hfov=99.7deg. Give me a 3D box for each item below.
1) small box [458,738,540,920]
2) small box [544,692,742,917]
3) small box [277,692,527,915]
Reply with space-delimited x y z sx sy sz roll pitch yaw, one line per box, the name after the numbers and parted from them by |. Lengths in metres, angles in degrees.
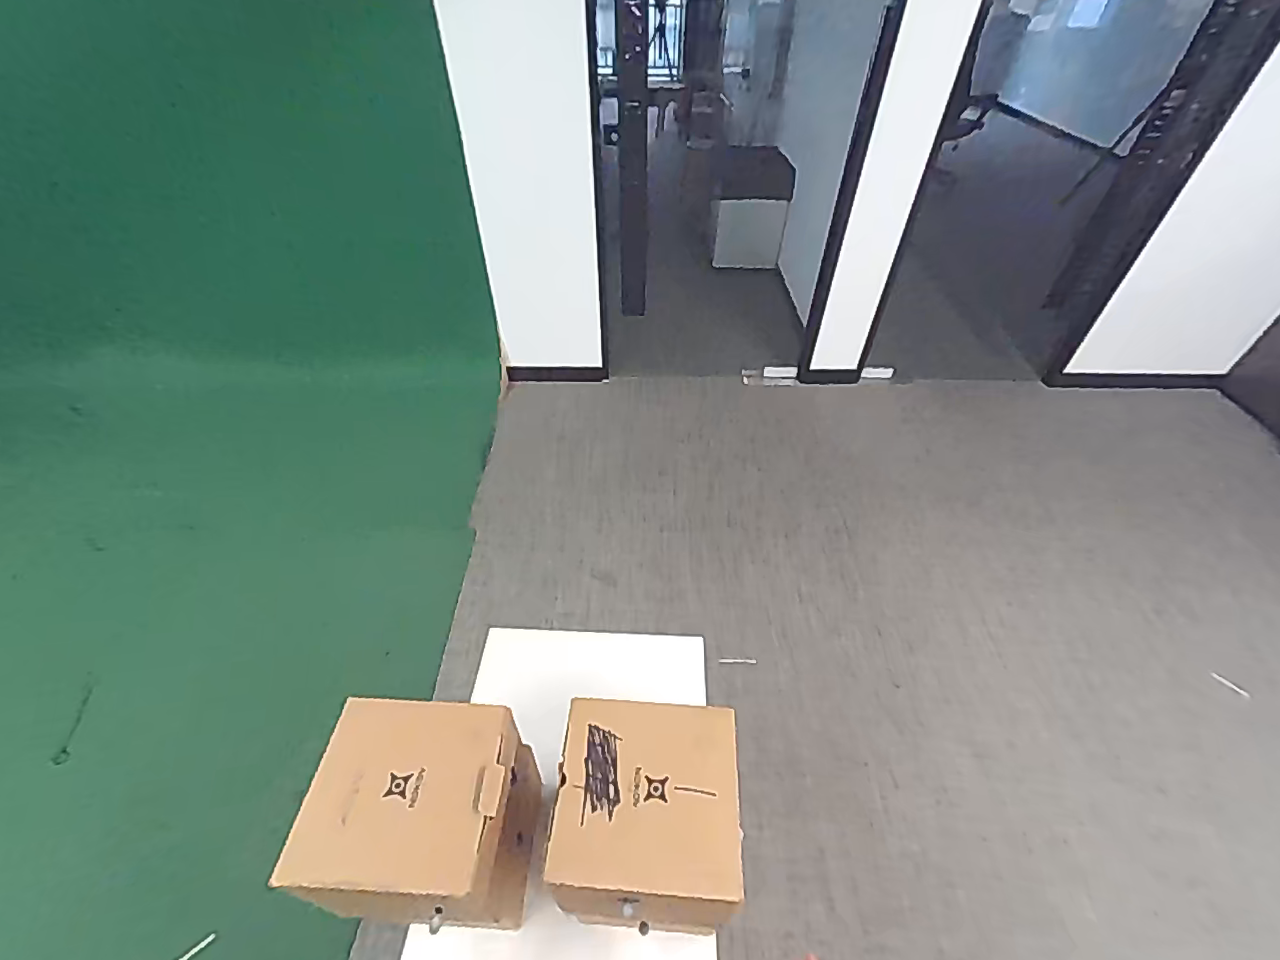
-0.229 0.450 0.702 0.168 0.176 0.179 4 45 0 | small box
0.010 0.346 0.577 0.179 0.176 0.168 3 45 3 | small box
-0.226 0.346 0.576 0.179 0.176 0.168 2 44 1 | small box
